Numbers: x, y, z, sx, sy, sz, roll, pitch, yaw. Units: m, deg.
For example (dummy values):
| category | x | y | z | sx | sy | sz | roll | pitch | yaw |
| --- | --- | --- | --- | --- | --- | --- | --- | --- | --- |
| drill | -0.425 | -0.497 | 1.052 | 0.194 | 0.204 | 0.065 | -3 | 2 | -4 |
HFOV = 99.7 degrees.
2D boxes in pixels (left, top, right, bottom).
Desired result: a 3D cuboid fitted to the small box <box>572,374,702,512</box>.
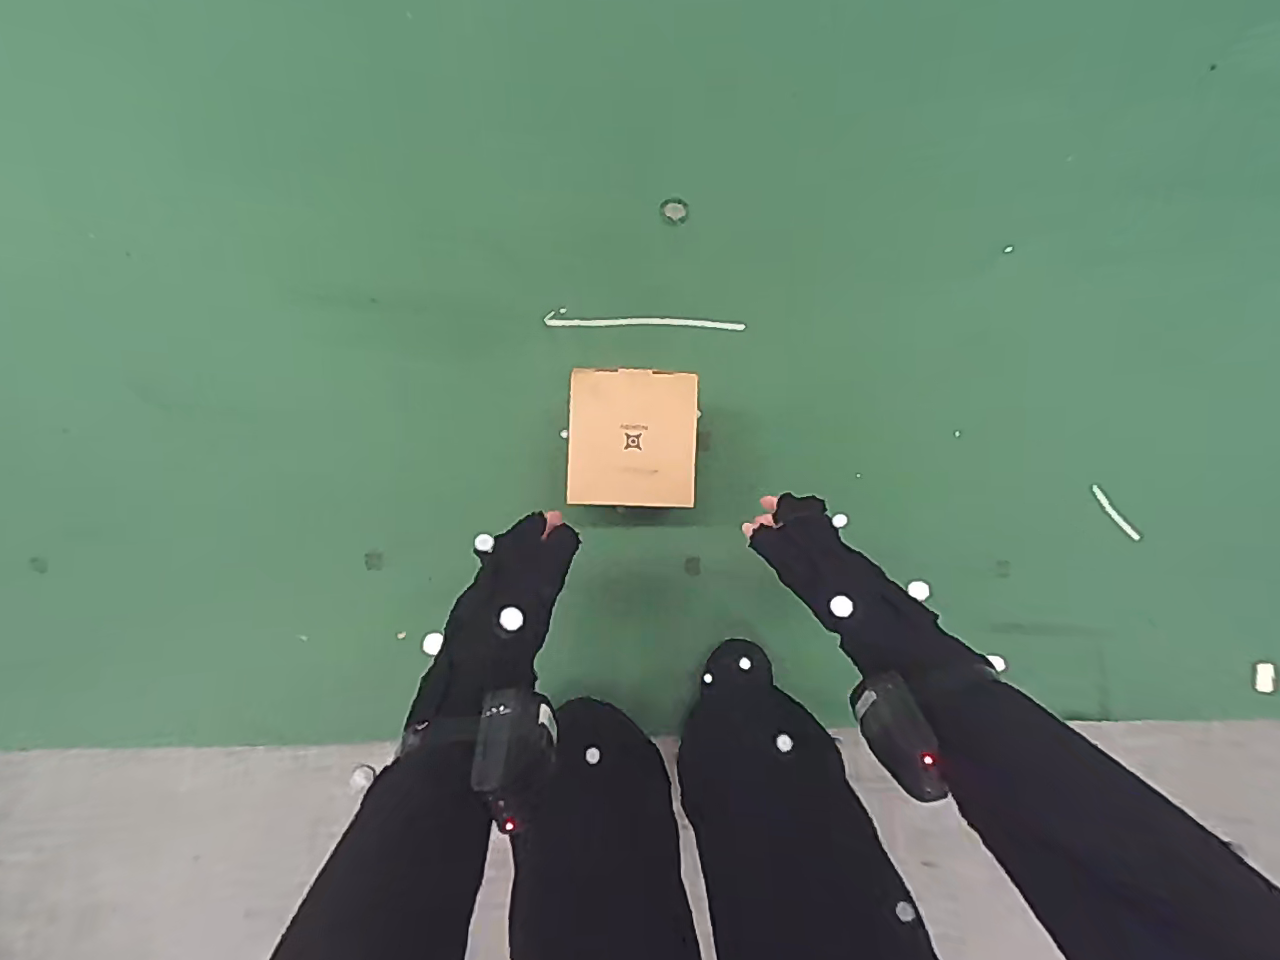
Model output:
| category | x | y | z | sx | sy | sz | roll | pitch | yaw |
| --- | --- | --- | --- | --- | --- | --- | --- | --- | --- |
| small box | -0.006 | -0.048 | 0.778 | 0.168 | 0.176 | 0.179 | 1 | 91 | -1 |
